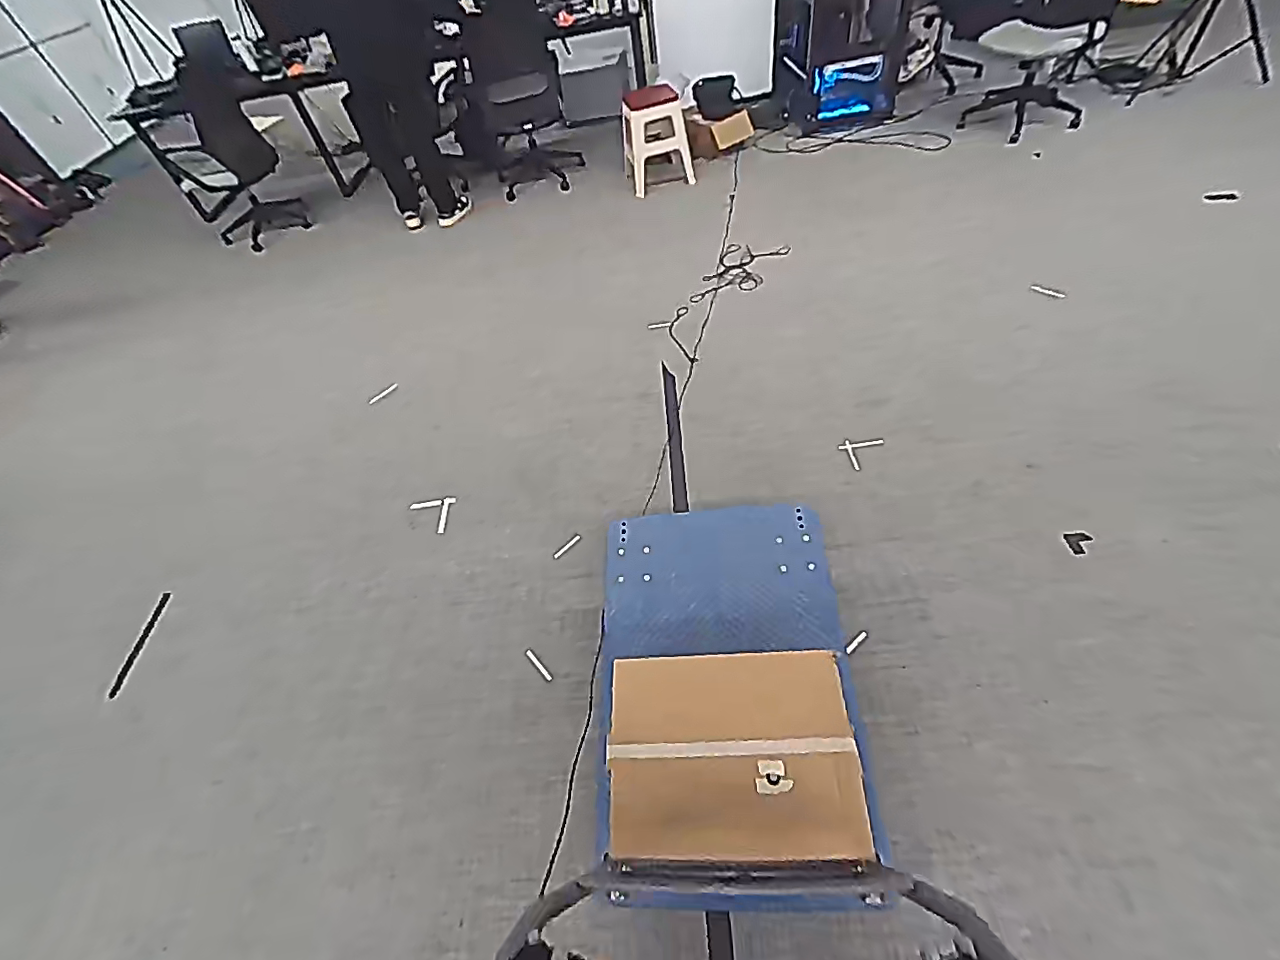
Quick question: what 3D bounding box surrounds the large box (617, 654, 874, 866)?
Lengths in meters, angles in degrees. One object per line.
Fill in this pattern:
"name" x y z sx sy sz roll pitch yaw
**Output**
"large box" 0.176 0.545 1.041 0.408 0.320 0.320 -5 57 6
